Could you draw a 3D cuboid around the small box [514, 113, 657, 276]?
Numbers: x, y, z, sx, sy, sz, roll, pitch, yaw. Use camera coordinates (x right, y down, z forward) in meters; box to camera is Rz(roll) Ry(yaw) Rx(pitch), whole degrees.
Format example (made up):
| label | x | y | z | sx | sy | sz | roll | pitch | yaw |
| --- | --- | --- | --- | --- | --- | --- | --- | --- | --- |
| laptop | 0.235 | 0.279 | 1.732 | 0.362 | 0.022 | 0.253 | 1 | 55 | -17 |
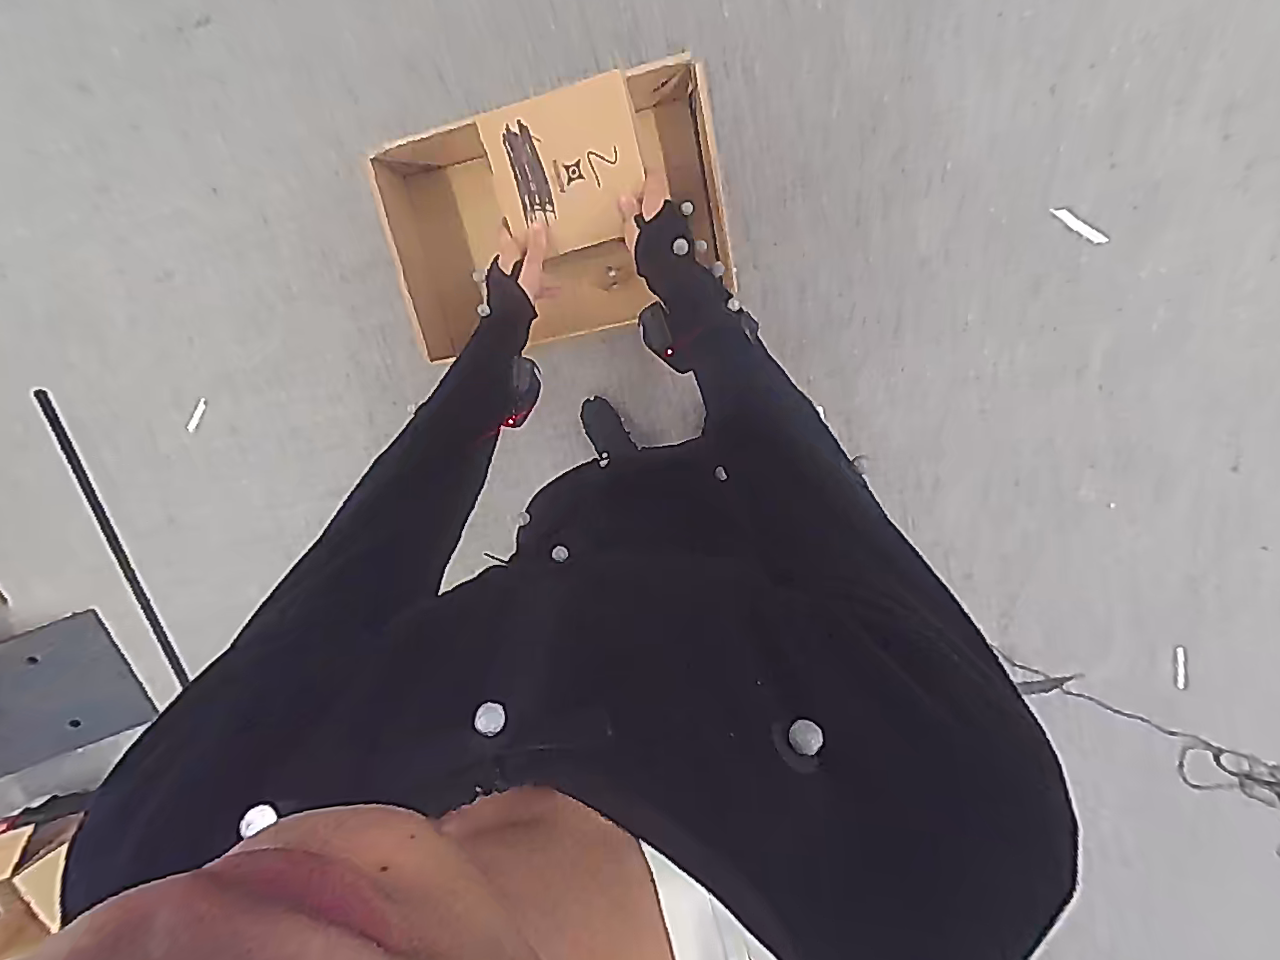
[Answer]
| label | x | y | z | sx | sy | sz | roll | pitch | yaw |
| --- | --- | --- | --- | --- | --- | --- | --- | --- | --- |
| small box | -0.074 | -0.433 | 0.852 | 0.168 | 0.176 | 0.179 | -11 | 107 | 11 |
